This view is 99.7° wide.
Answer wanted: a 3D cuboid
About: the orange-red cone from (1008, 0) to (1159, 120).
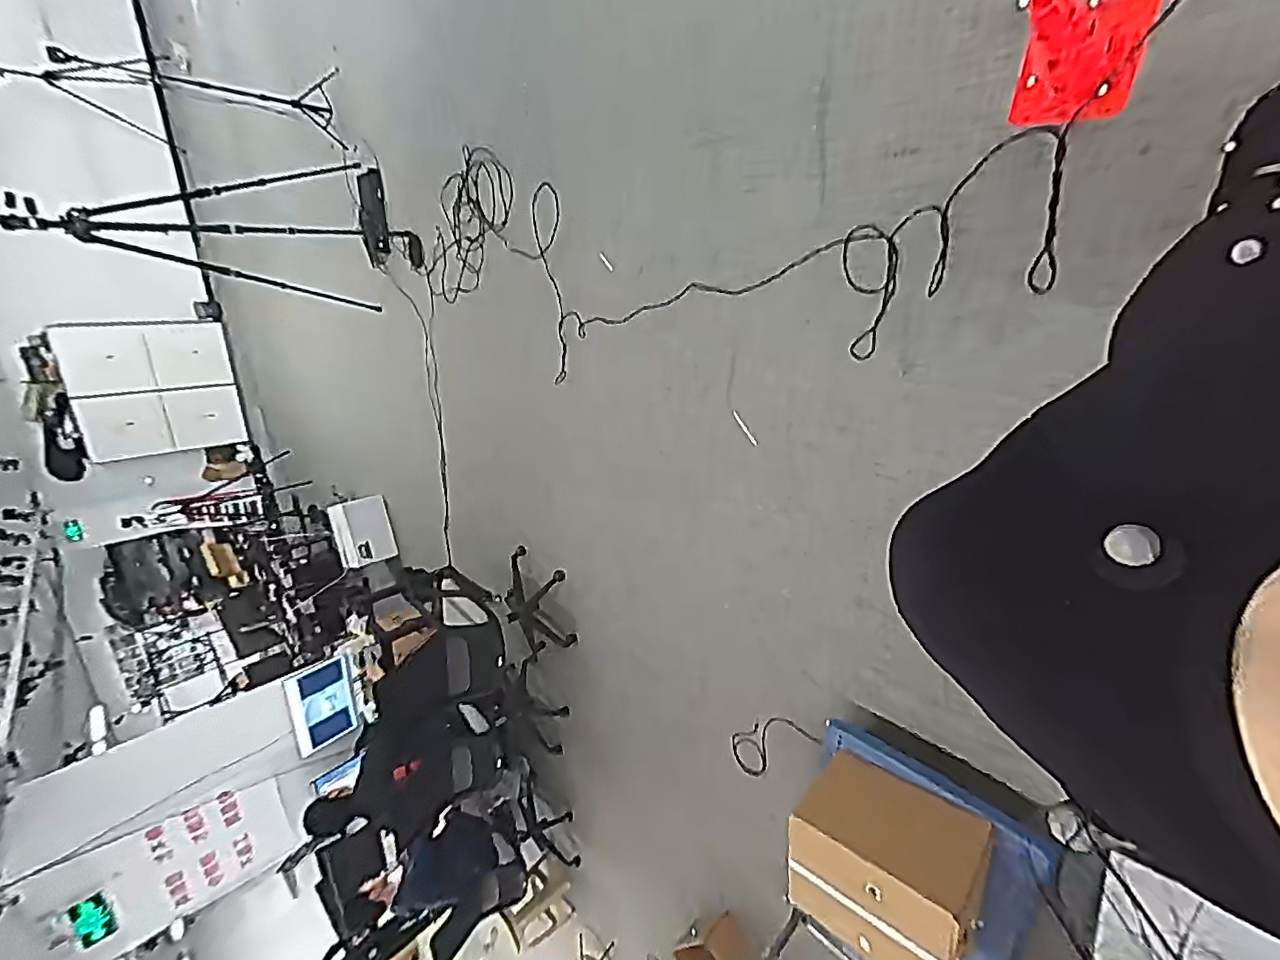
[{"bbox_3d":[0.743,-0.791,0.948,0.198,0.360,0.199,24,119,38],"label":"orange-red cone"}]
